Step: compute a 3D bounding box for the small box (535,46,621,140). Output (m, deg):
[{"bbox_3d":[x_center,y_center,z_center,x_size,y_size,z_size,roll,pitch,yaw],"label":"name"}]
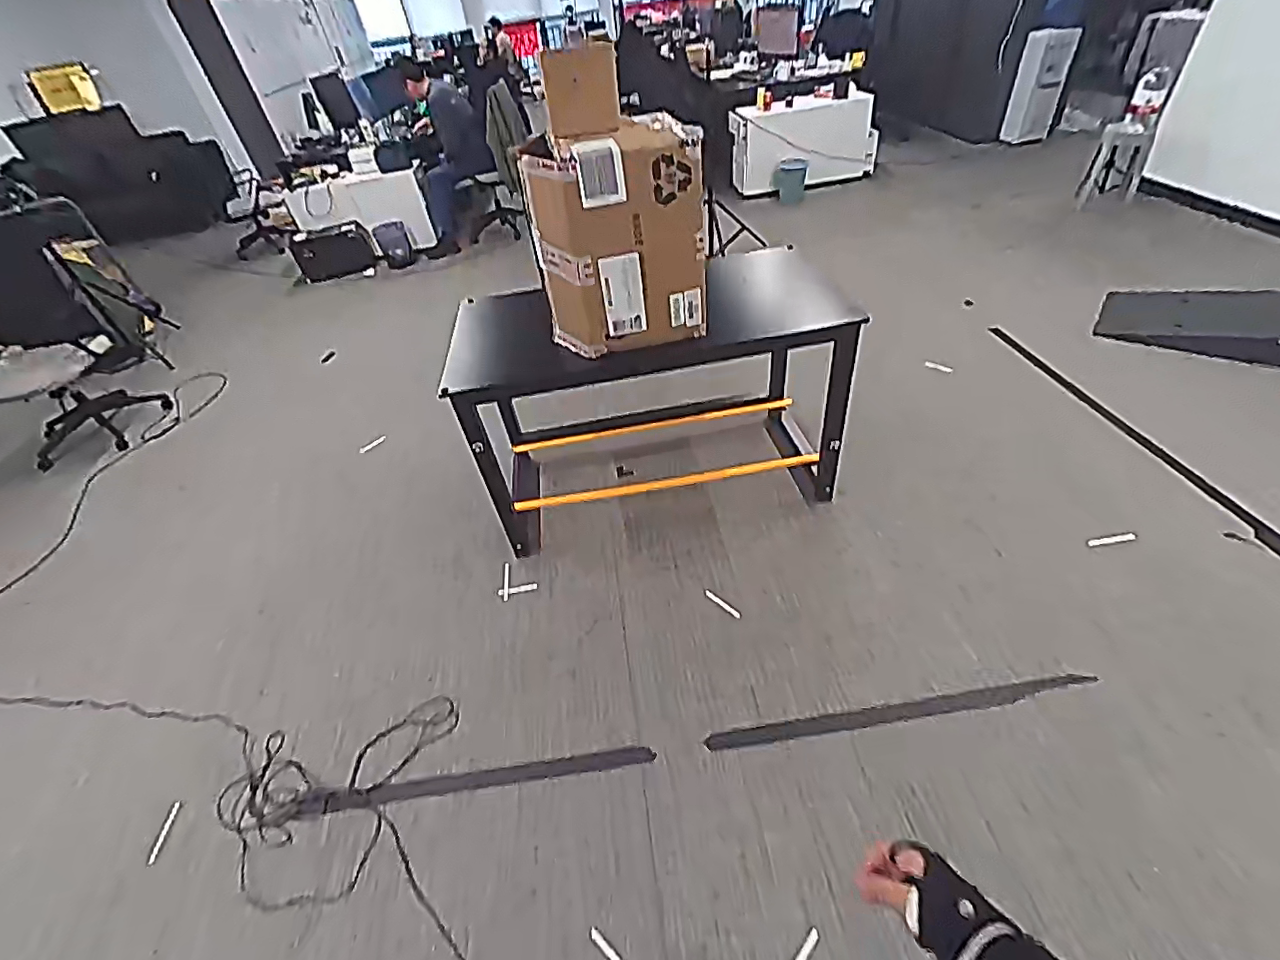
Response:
[{"bbox_3d":[-0.154,-0.962,1.347,0.179,0.176,0.168,-12,40,-5],"label":"small box"}]
